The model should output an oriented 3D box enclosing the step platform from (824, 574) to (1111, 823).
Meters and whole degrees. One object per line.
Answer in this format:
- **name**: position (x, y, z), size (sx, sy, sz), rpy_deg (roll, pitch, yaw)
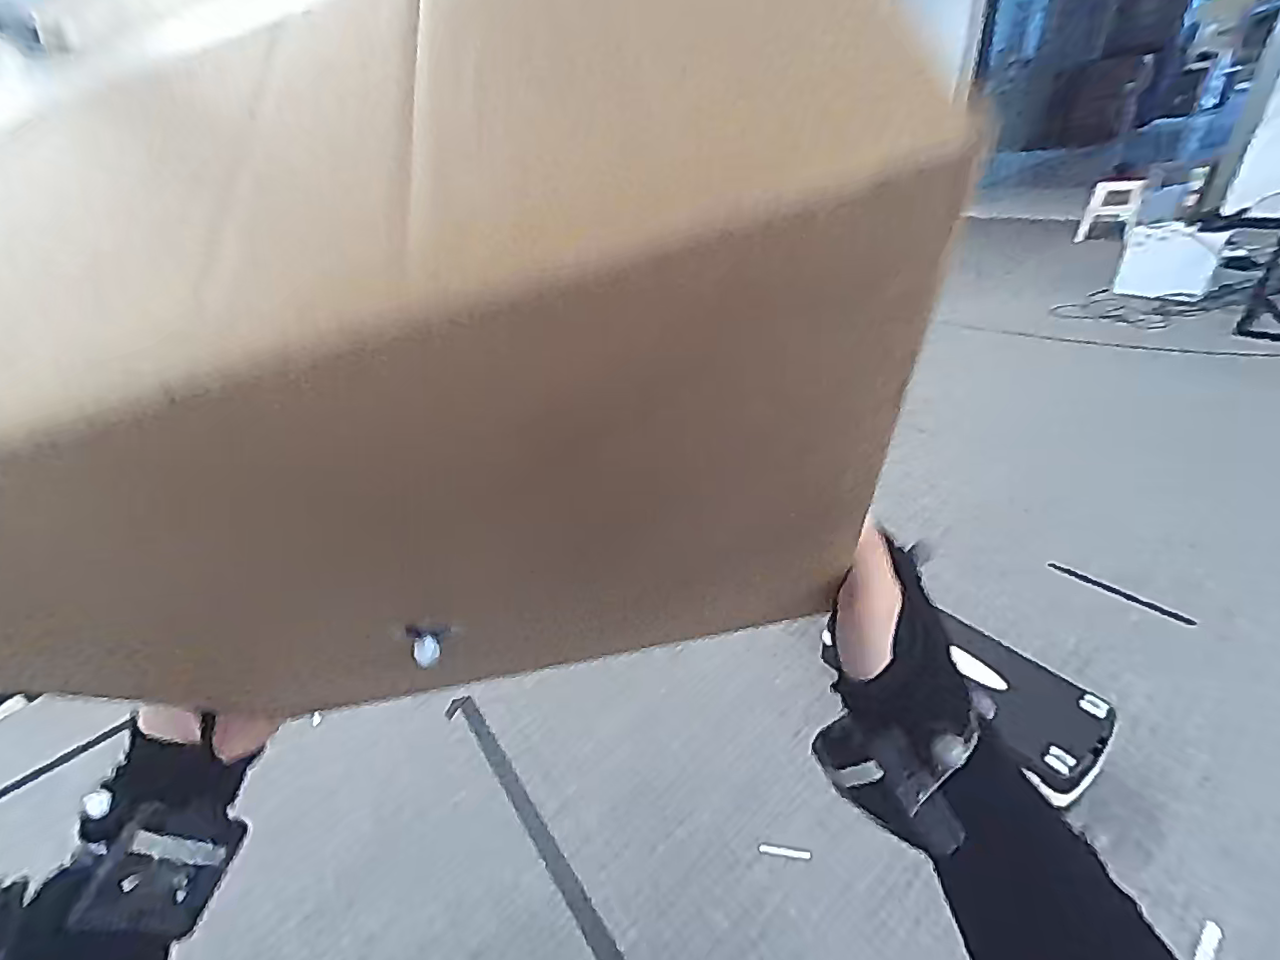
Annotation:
- **step platform**: position (0.854, 0.547, 1.504), size (0.286, 0.204, 0.684), rpy_deg (-26, 36, -21)
